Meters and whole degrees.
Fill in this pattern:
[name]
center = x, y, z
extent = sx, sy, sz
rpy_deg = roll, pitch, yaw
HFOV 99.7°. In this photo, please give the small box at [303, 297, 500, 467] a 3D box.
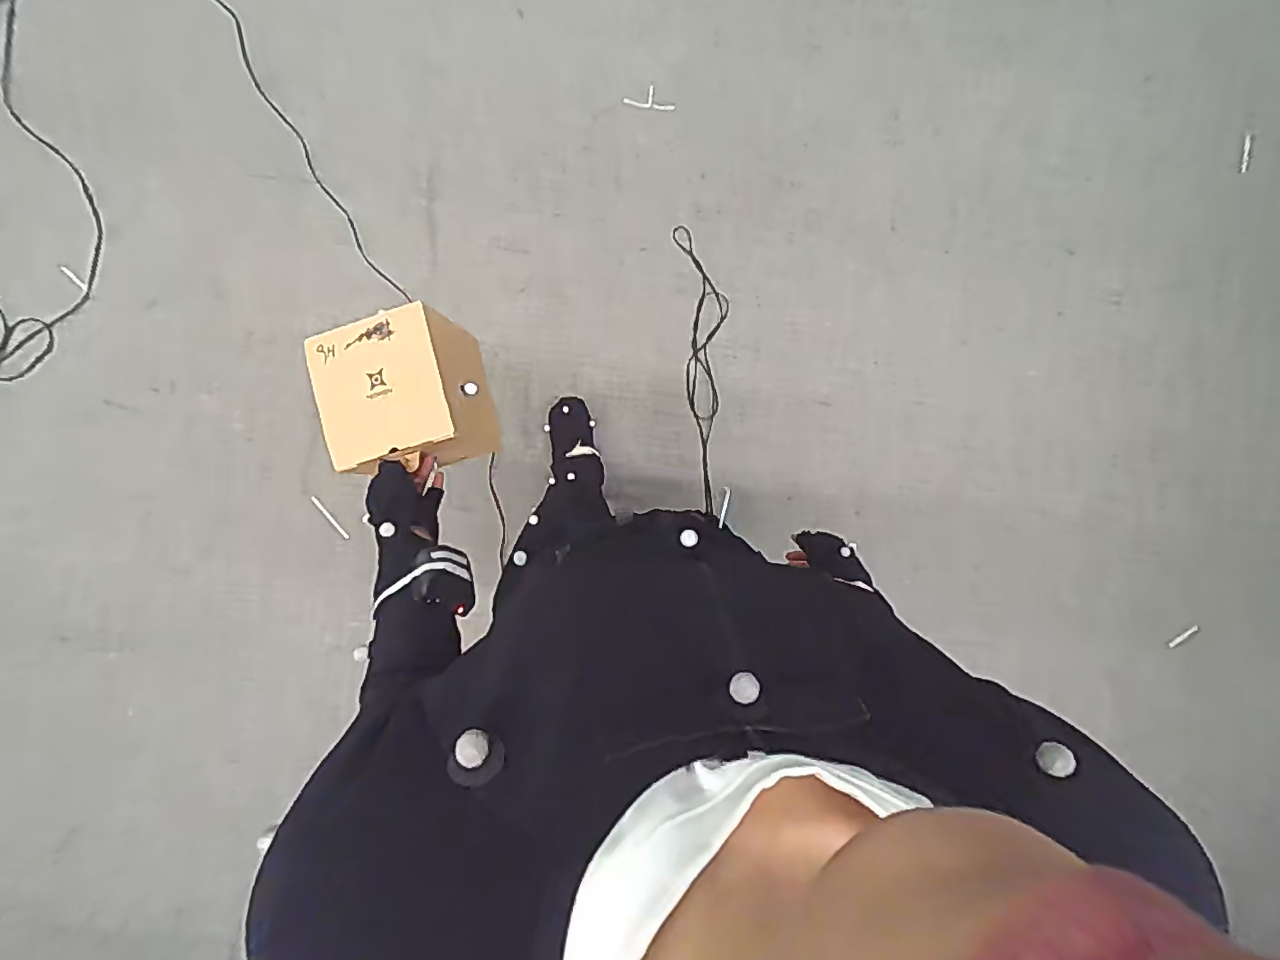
[small box]
center = -0.311, -0.120, 0.741
extent = 0.168, 0.176, 0.179
rpy_deg = -16, 88, 6
